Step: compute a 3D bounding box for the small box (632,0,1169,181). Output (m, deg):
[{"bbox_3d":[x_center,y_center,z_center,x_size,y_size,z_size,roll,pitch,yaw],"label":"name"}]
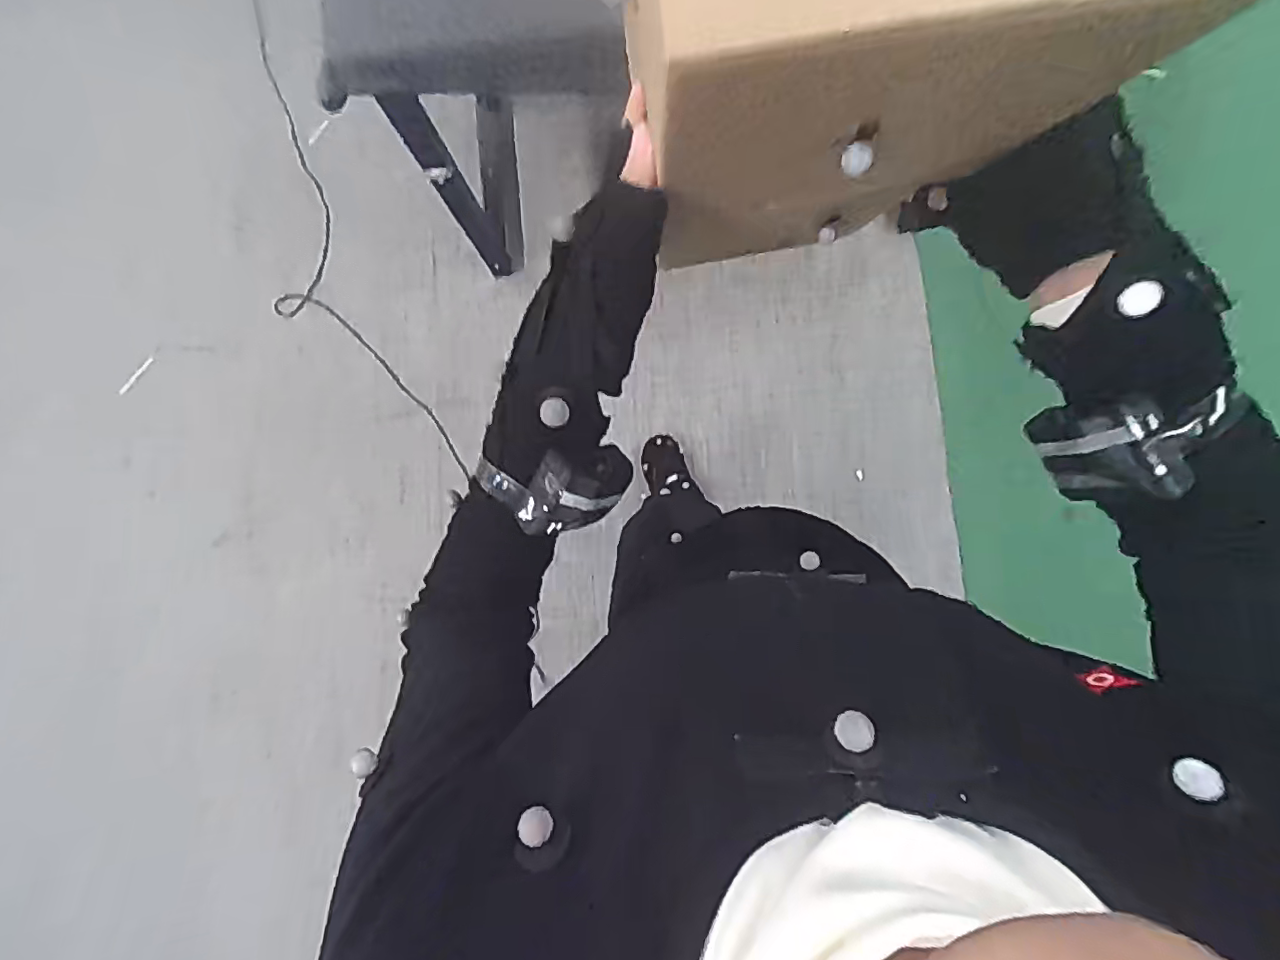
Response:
[{"bbox_3d":[0.081,-0.237,0.209,0.179,0.176,0.168,-6,103,5],"label":"small box"}]
